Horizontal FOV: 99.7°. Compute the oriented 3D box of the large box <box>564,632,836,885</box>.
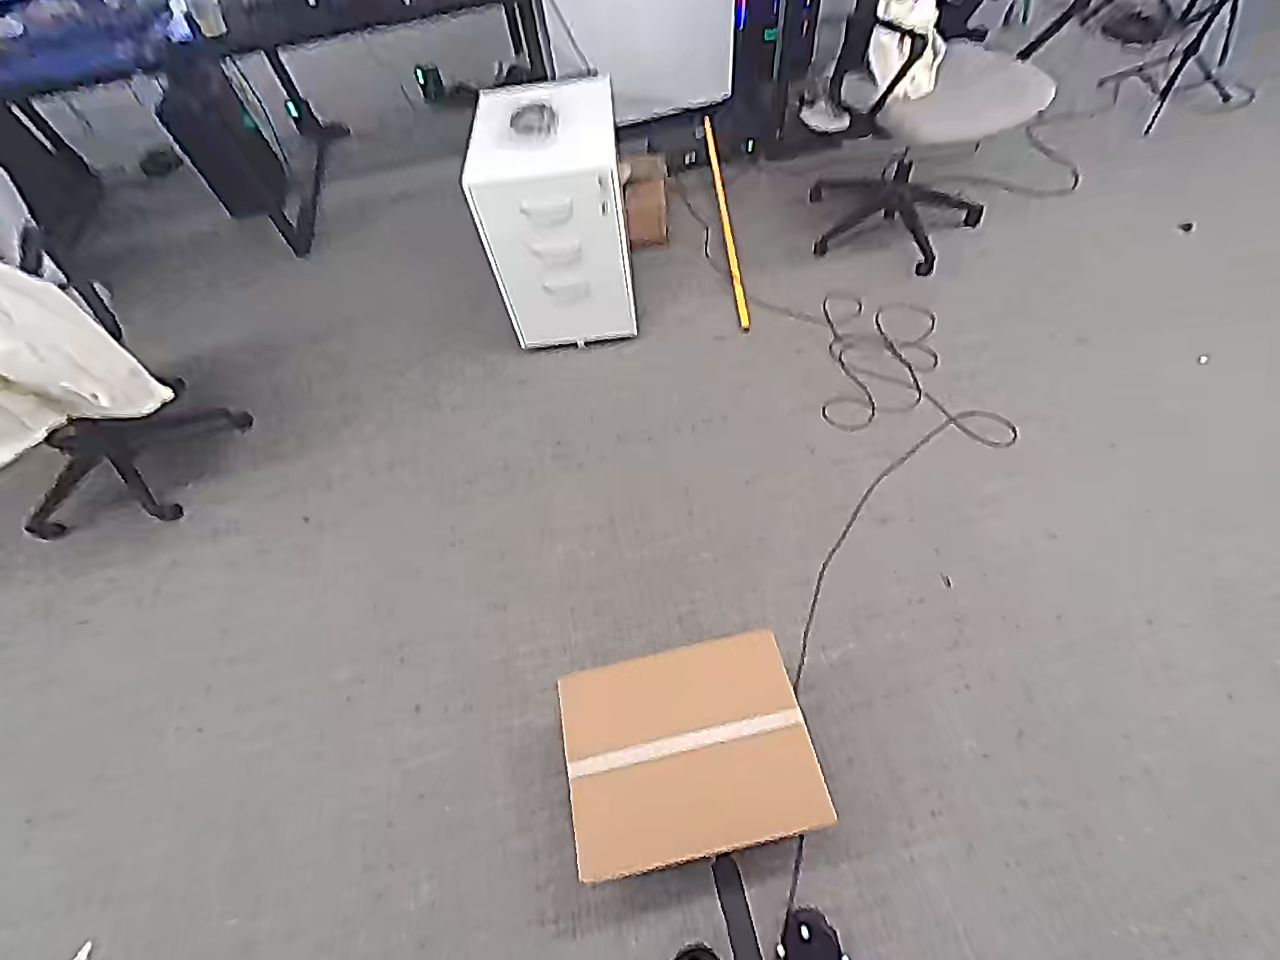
[{"bbox_3d":[0.096,0.530,1.033,0.408,0.320,0.320,-13,57,-2],"label":"large box"}]
